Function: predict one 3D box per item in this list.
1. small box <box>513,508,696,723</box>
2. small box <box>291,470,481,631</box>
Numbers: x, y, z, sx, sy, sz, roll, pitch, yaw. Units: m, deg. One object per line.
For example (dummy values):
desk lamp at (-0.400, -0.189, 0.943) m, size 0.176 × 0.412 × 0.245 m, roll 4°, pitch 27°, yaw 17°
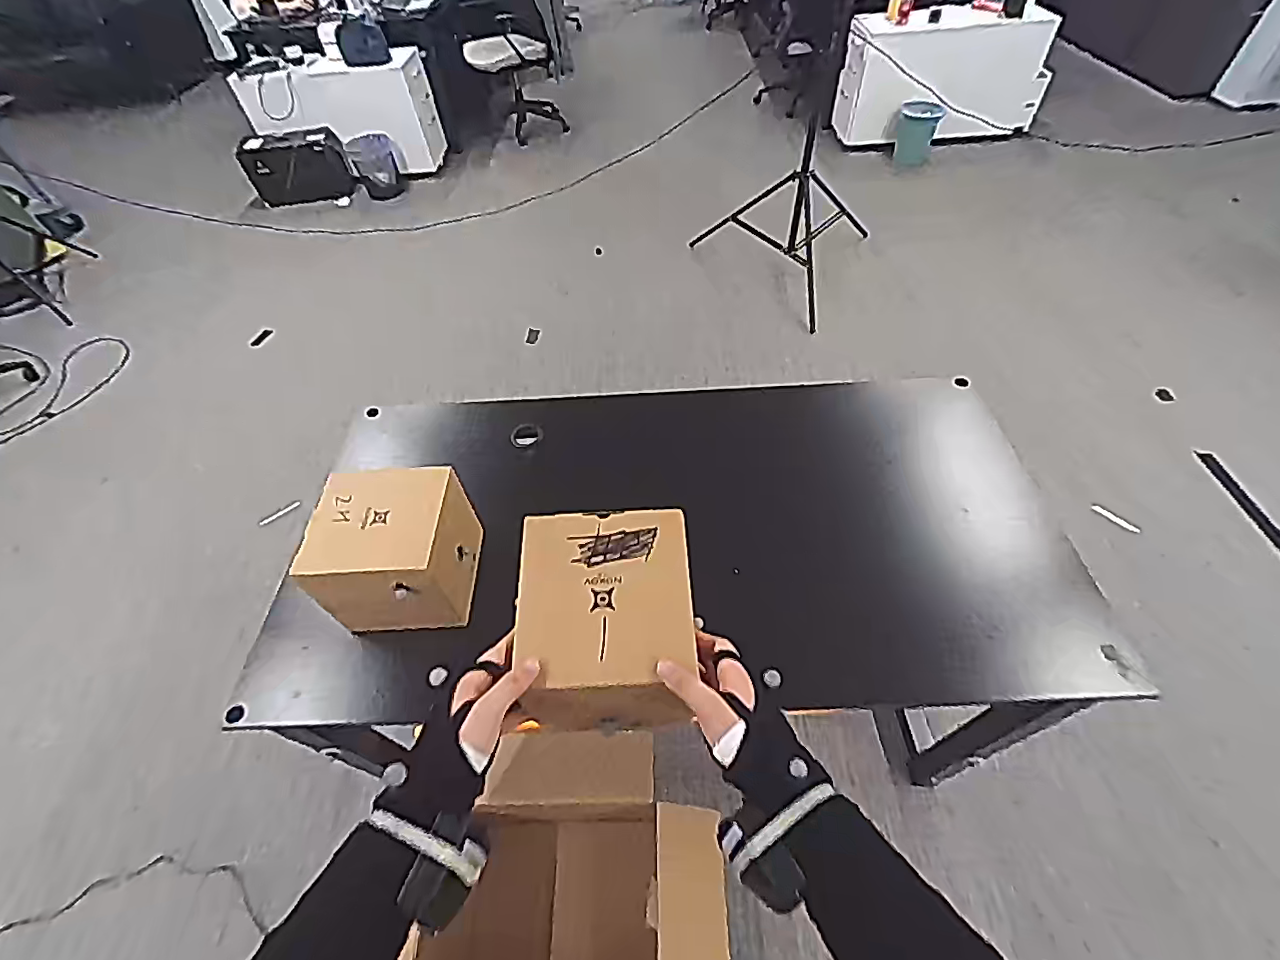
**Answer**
small box at (-0.033, 0.150, 0.591) m, size 0.168 × 0.176 × 0.179 m, roll -3°, pitch 53°, yaw 0°
small box at (-0.341, 0.104, 0.771) m, size 0.179 × 0.176 × 0.168 m, roll -3°, pitch 51°, yaw 1°
